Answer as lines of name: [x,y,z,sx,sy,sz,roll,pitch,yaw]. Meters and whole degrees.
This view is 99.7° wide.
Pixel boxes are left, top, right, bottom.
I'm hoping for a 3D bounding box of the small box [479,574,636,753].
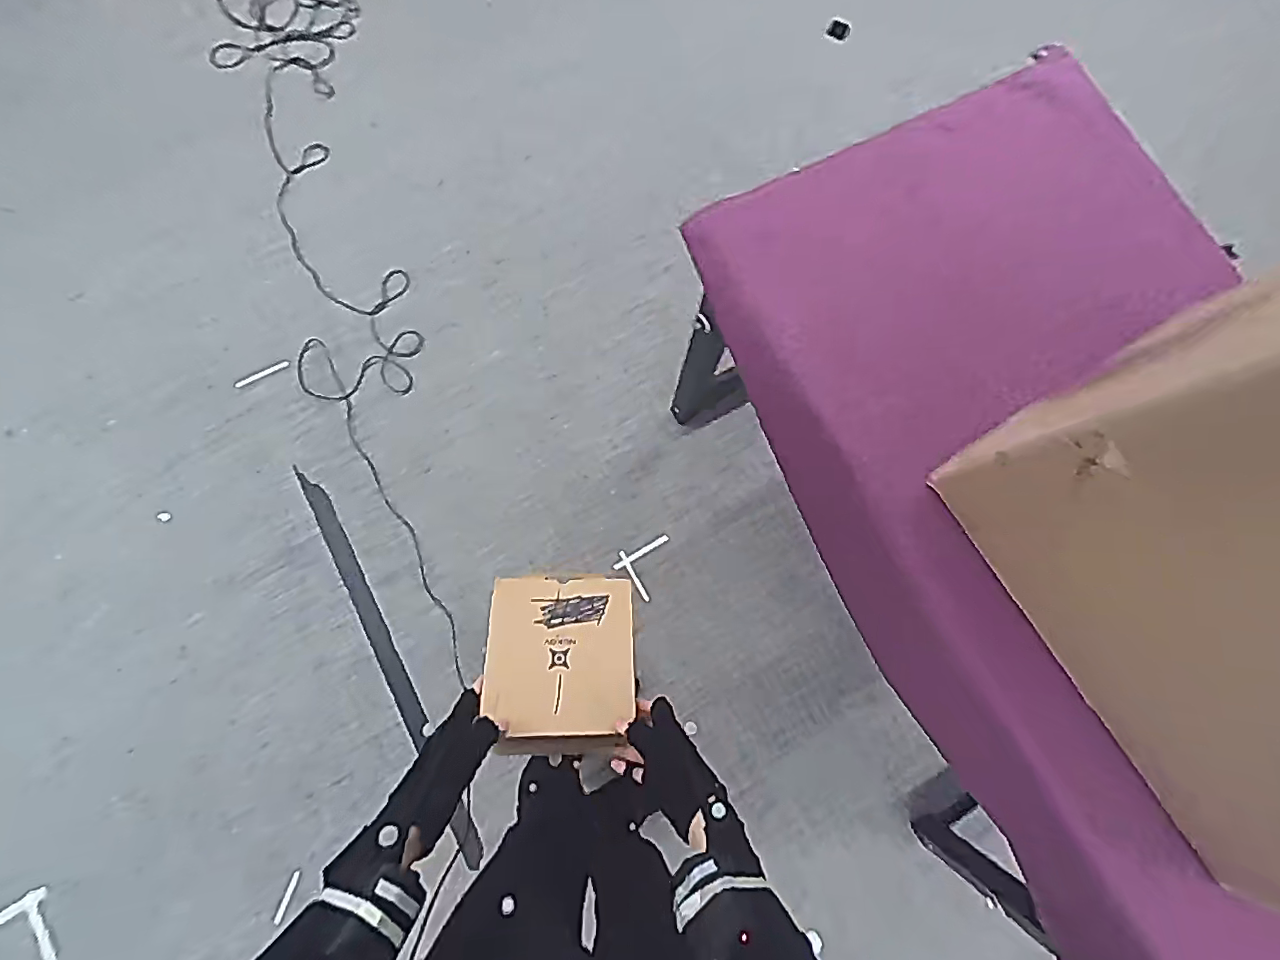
small box: [-0.095,0.231,0.673,0.168,0.176,0.179,0,58,-6]
